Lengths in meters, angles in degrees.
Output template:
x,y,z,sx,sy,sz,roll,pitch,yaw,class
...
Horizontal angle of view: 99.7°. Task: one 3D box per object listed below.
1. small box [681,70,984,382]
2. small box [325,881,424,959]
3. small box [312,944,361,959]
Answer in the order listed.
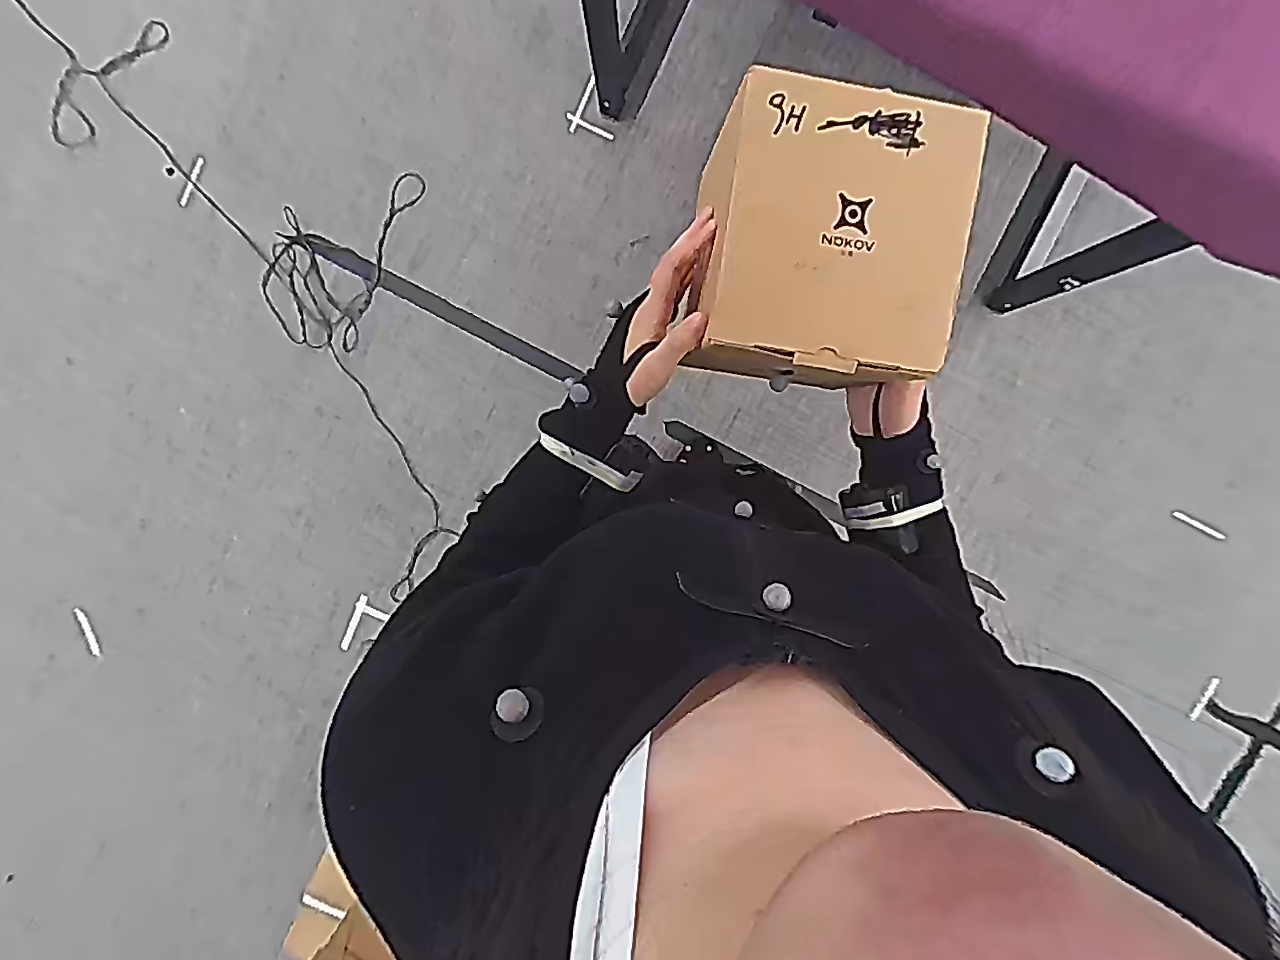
x,y,z,sx,sy,sz,roll,pitch,yaw,class
0.132,-0.179,0.443,0.168,0.176,0.179,7,97,-5,small box
-0.619,1.075,1.225,0.168,0.176,0.179,24,94,-1,small box
-0.625,1.081,1.064,0.168,0.176,0.179,22,96,0,small box
